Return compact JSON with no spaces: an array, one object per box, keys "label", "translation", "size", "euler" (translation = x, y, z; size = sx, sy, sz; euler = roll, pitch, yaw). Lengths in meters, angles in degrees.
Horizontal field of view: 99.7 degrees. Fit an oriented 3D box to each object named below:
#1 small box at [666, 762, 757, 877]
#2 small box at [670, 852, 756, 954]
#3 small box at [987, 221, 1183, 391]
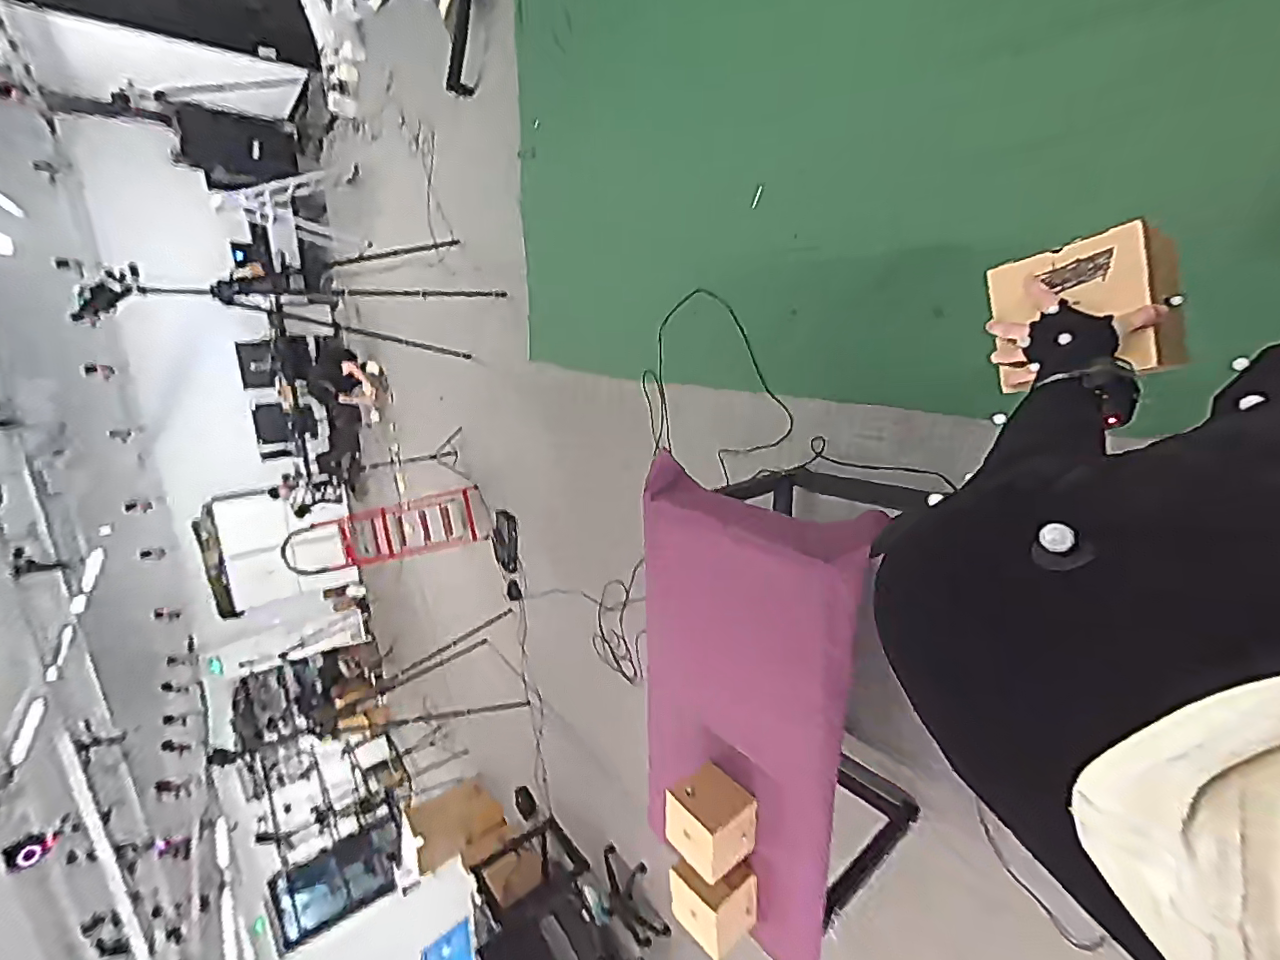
[{"label":"small box","translation":[0.191,0.902,1.464],"size":[0.179,0.176,0.168],"euler":[20,116,48]},{"label":"small box","translation":[0.206,1.146,1.519],"size":[0.179,0.176,0.168],"euler":[12,110,50]},{"label":"small box","translation":[0.610,-0.225,0.744],"size":[0.168,0.176,0.179],"euler":[-6,94,55]}]
